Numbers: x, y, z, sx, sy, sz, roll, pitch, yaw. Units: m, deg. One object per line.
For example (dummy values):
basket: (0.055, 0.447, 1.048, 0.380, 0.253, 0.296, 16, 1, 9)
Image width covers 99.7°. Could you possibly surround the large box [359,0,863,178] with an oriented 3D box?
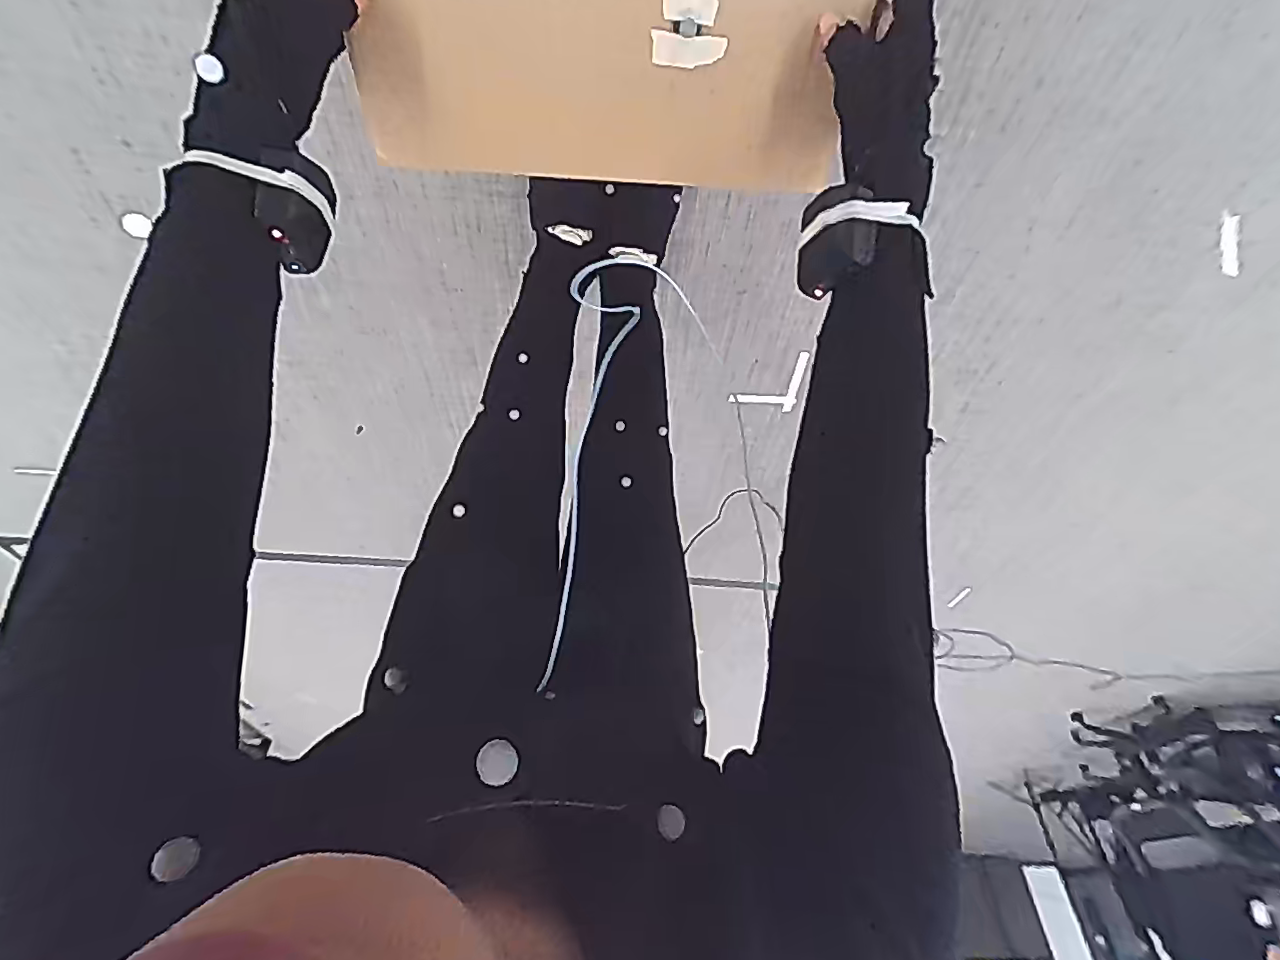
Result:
large box: (-0.022, -0.505, 0.504, 0.408, 0.320, 0.320, 2, 137, -1)
